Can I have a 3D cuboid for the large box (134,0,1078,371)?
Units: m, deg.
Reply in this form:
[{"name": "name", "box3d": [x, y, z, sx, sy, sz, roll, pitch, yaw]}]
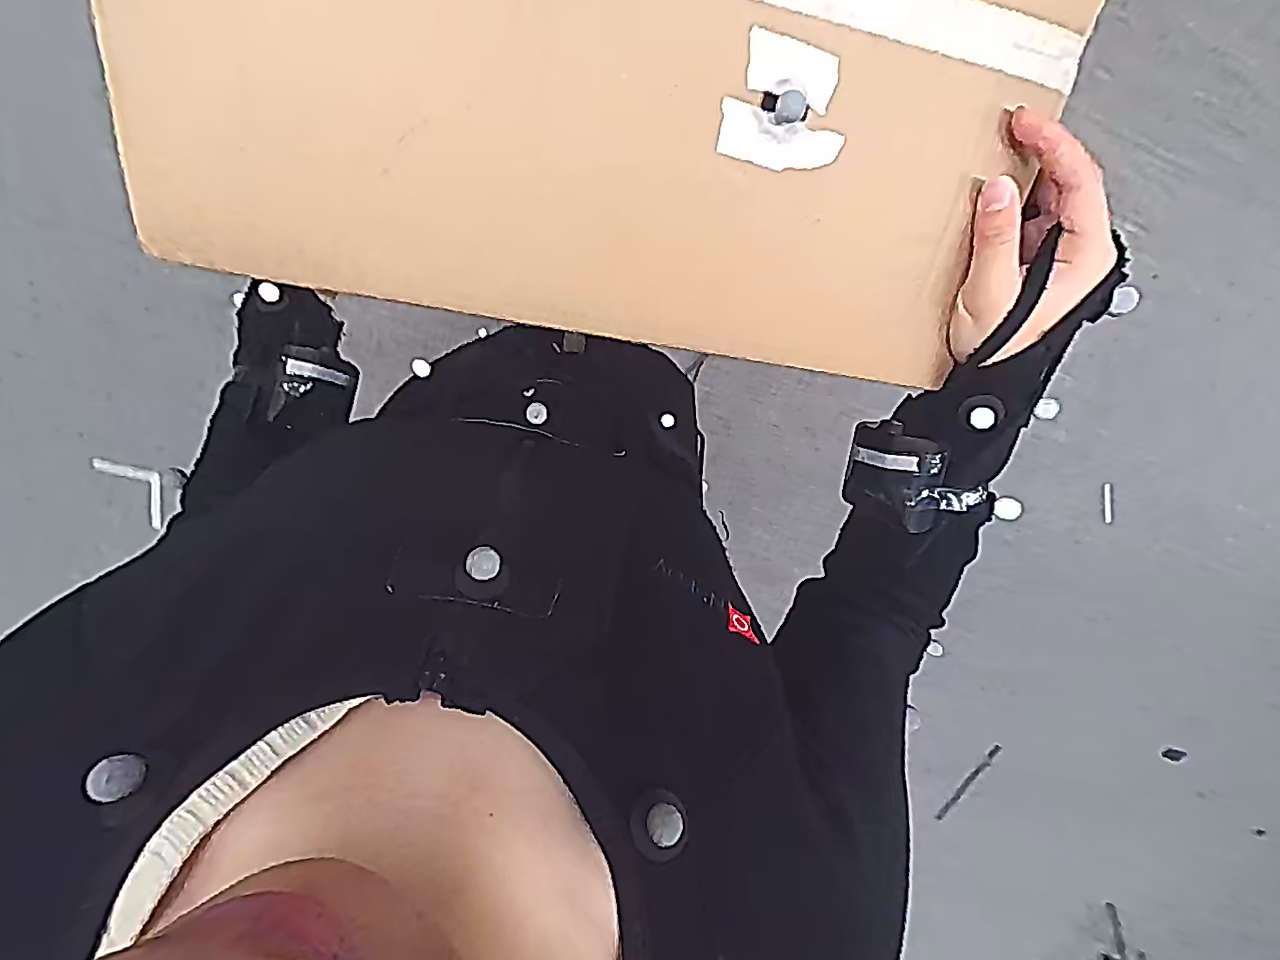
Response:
[{"name": "large box", "box3d": [-0.017, -0.281, 0.361, 0.408, 0.320, 0.320, 5, 115, -12]}]
